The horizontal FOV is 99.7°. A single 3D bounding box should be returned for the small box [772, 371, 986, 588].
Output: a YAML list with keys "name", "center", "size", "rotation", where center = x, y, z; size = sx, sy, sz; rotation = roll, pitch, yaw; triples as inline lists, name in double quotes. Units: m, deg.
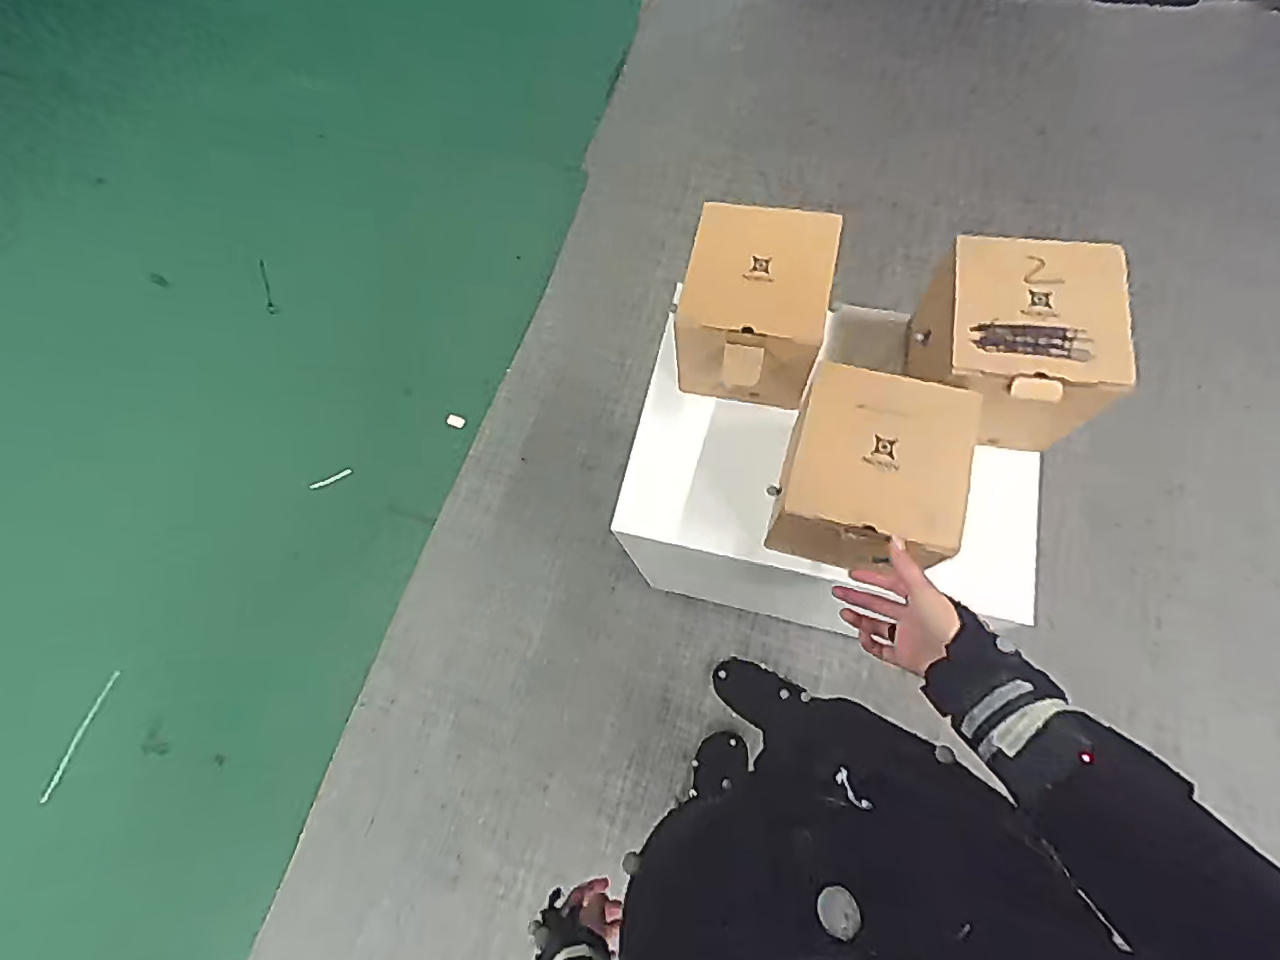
- name: "small box"
  center: [0.252, 0.010, 0.608]
  size: [0.168, 0.176, 0.179]
  rotation: [15, 72, 12]

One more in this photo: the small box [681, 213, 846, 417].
- name: "small box"
  center: [0.151, -0.204, 0.697]
  size: [0.168, 0.176, 0.179]
  rotation: [11, 74, 10]
